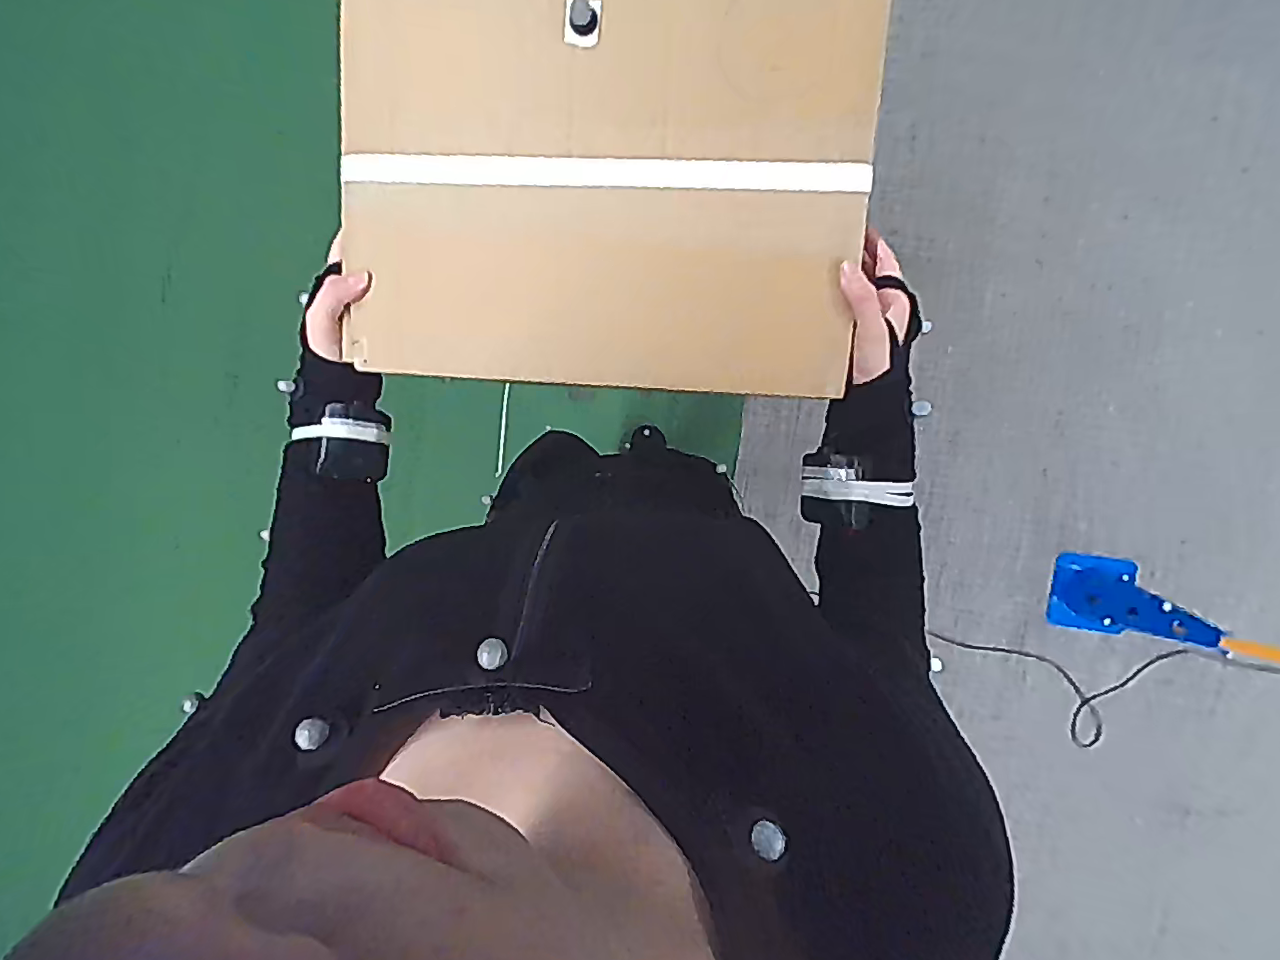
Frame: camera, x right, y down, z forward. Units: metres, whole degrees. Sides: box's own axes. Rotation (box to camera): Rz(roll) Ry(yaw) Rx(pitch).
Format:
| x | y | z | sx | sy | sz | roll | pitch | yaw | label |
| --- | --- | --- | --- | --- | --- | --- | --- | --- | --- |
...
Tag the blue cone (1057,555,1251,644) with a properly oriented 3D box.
| x | y | z | sx | sy | sz | roll | pitch | yaw | label |
| --- | --- | --- | --- | --- | --- | --- | --- | --- | --- |
| 1.181 | 0.297 | 1.245 | 0.192 | 0.380 | 0.193 | 5 | 93 | 4 | blue cone |
